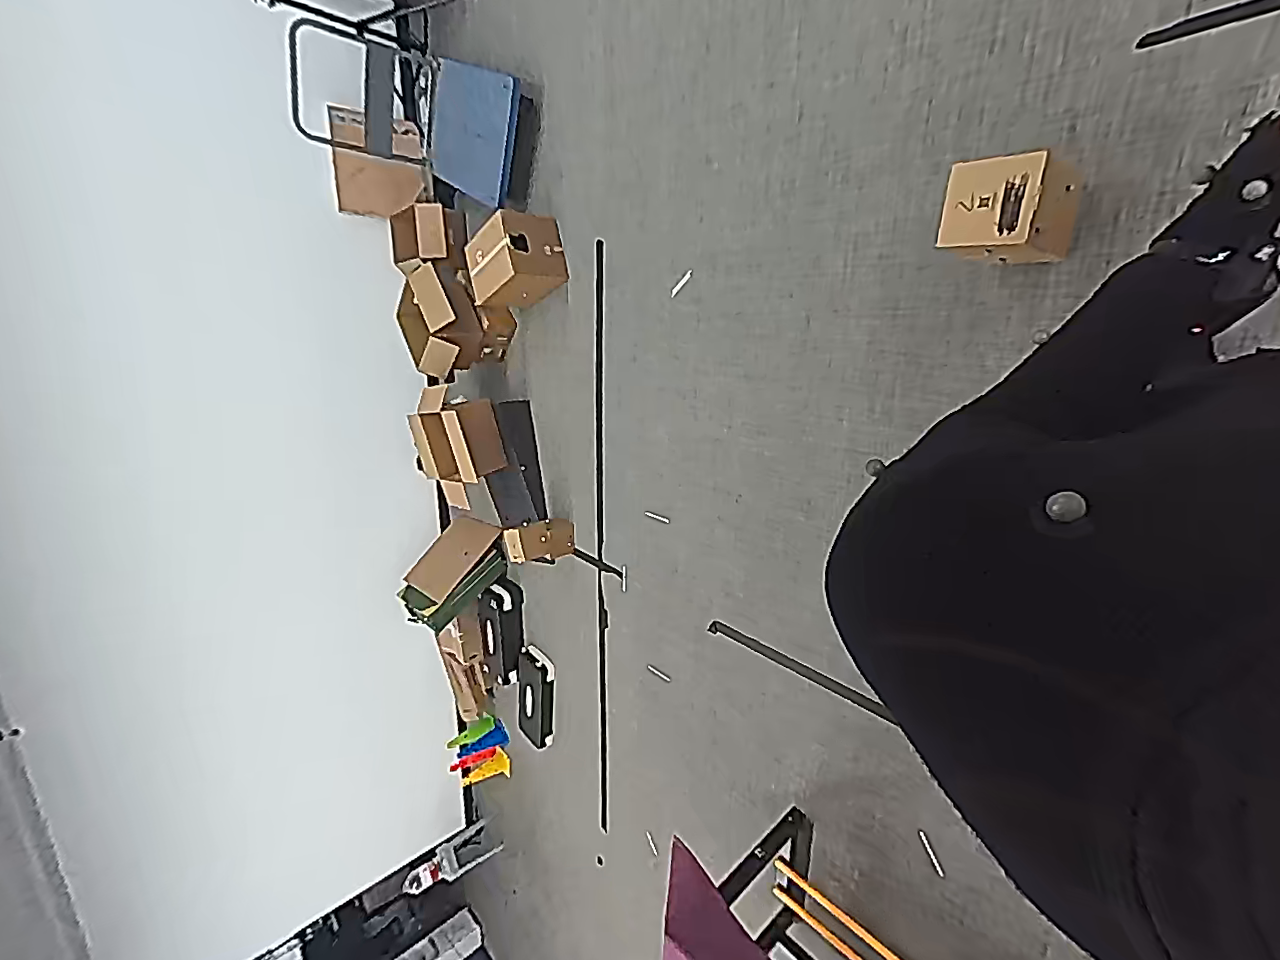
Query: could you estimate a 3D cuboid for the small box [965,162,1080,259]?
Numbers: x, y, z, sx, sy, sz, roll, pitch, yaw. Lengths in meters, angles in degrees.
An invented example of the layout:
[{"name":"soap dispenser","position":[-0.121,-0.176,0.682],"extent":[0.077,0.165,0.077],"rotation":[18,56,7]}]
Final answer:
[{"name":"small box","position":[0.889,-0.614,1.256],"extent":[0.168,0.176,0.179],"rotation":[19,113,45]}]
